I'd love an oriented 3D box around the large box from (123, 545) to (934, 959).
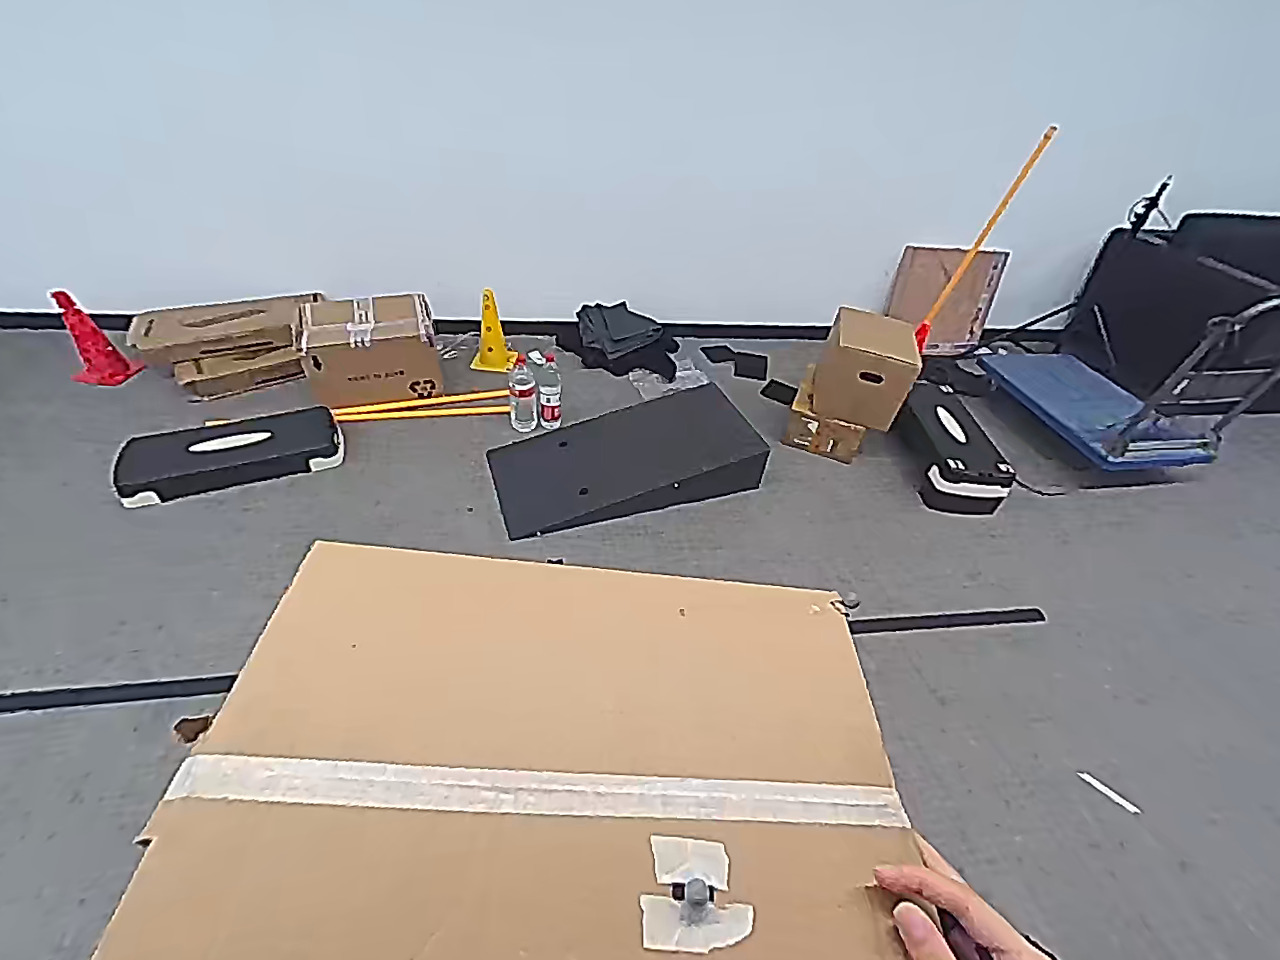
[{"bbox_3d":[-0.063,0.281,0.427,0.408,0.320,0.320,8,46,-7],"label":"large box"}]
